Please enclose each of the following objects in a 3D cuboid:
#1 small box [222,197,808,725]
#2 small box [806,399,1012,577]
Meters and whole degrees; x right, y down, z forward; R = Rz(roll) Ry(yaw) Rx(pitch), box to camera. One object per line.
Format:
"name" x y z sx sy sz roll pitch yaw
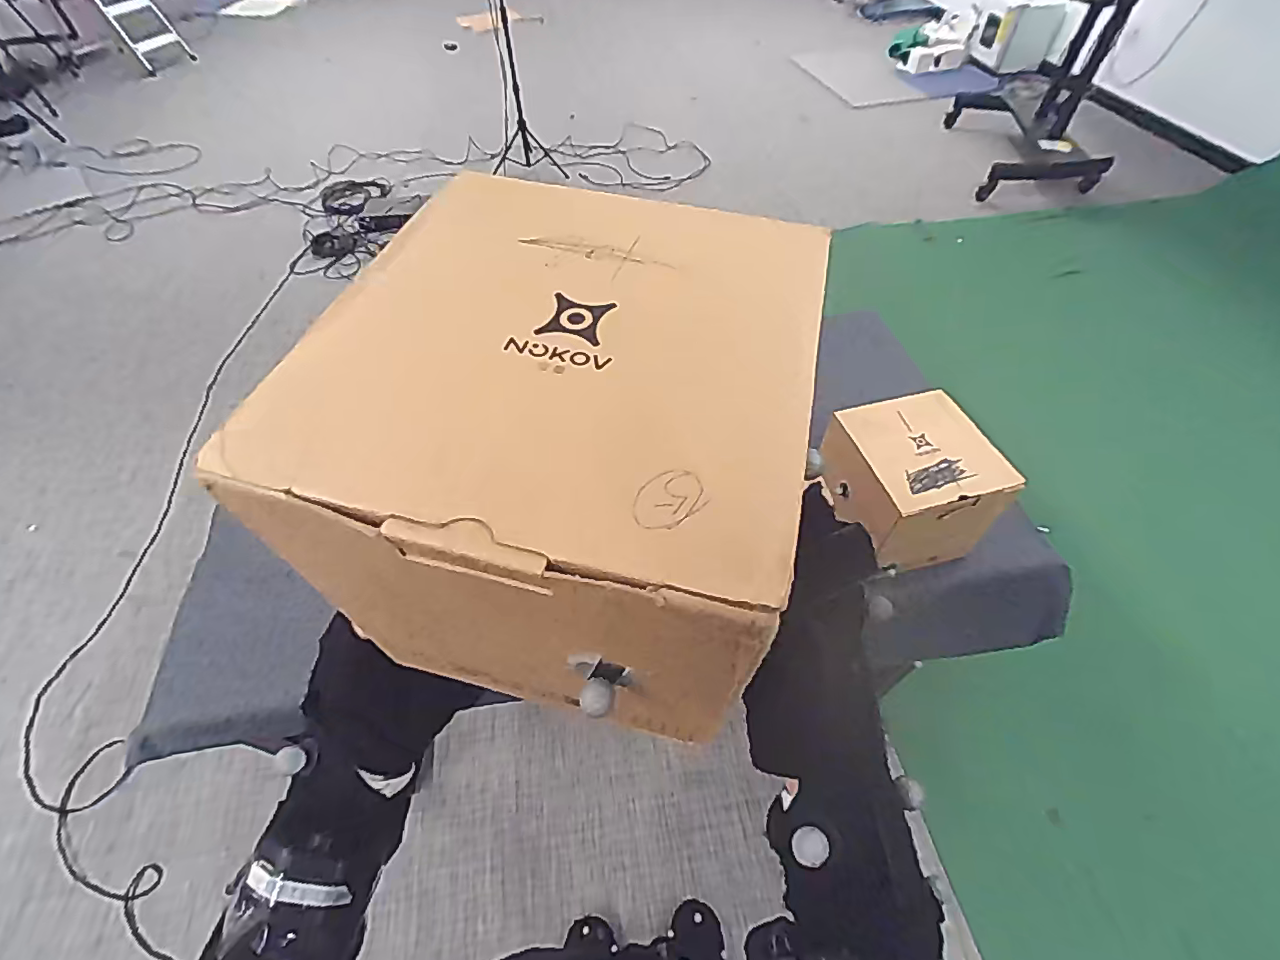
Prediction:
"small box" -0.028 -0.002 0.262 0.168 0.176 0.179 13 54 6
"small box" 0.355 0.018 0.754 0.168 0.176 0.179 -12 51 -8
